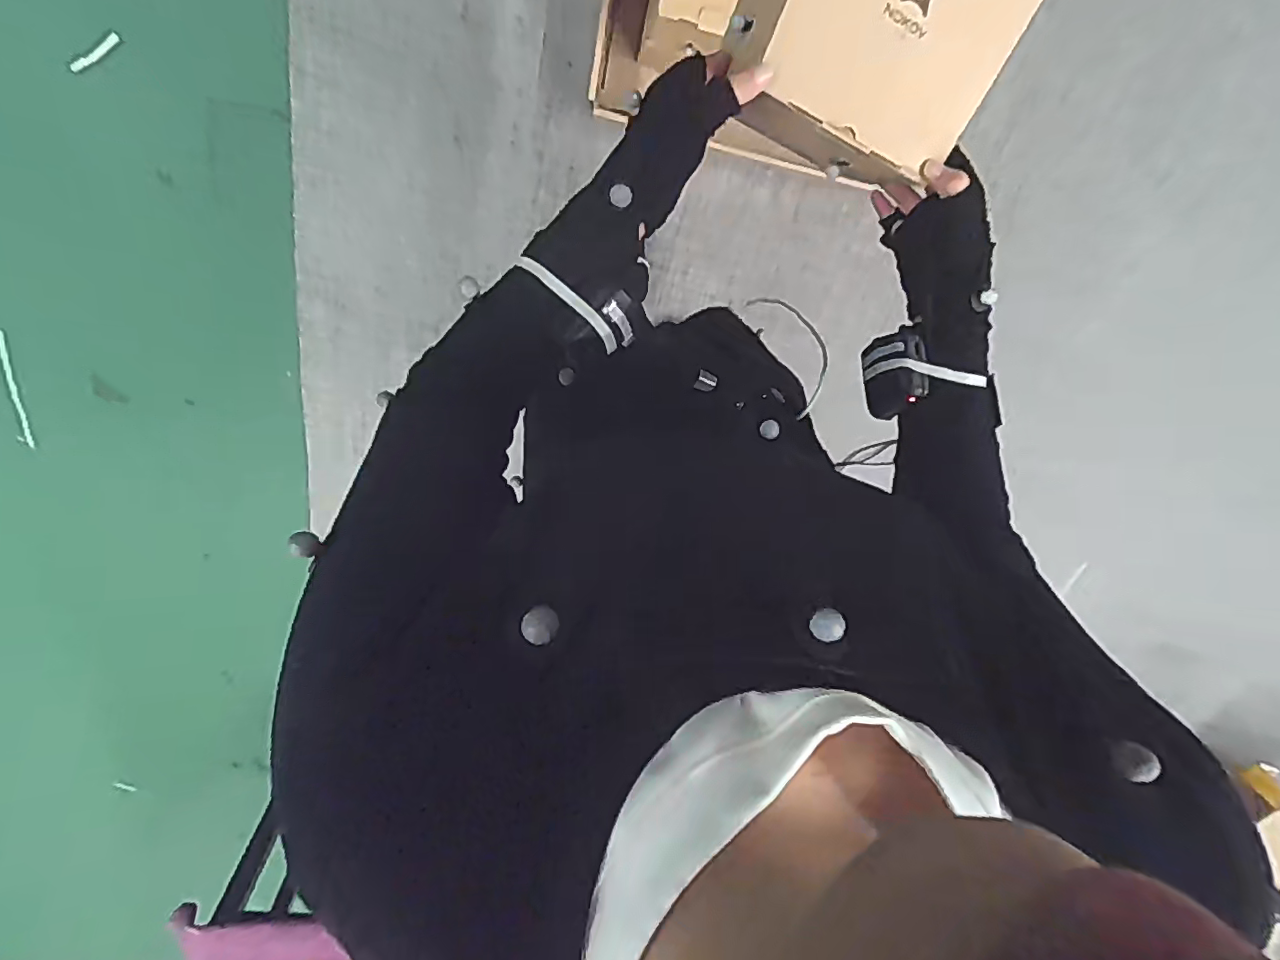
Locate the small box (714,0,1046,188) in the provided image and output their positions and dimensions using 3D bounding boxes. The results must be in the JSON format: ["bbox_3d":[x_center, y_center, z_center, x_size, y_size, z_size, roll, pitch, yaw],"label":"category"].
[{"bbox_3d":[0.172,-0.356,0.421,0.168,0.176,0.179,17,117,-18],"label":"small box"}]

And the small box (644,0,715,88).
[{"bbox_3d":[0.108,-0.842,0.970,0.168,0.176,0.179,10,116,-10],"label":"small box"}]

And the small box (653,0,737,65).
[{"bbox_3d":[0.121,-0.769,0.825,0.168,0.176,0.179,9,116,-10],"label":"small box"}]
